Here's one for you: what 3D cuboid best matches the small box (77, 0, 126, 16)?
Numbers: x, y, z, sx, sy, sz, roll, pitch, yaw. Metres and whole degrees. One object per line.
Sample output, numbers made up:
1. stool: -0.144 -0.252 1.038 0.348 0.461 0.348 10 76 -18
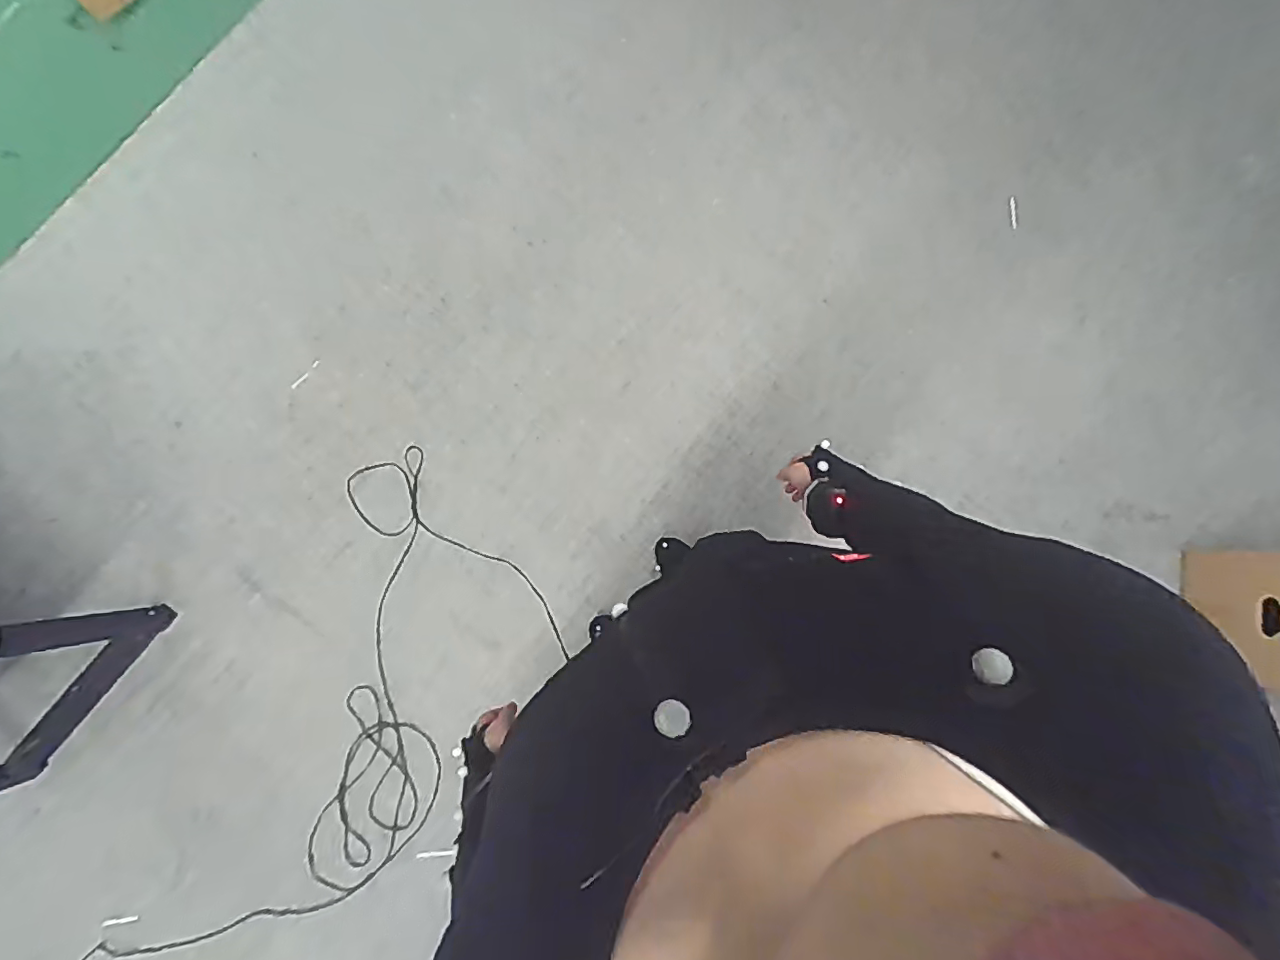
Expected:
1. small box: -1.759 -1.618 1.695 0.168 0.176 0.179 -42 84 -4
